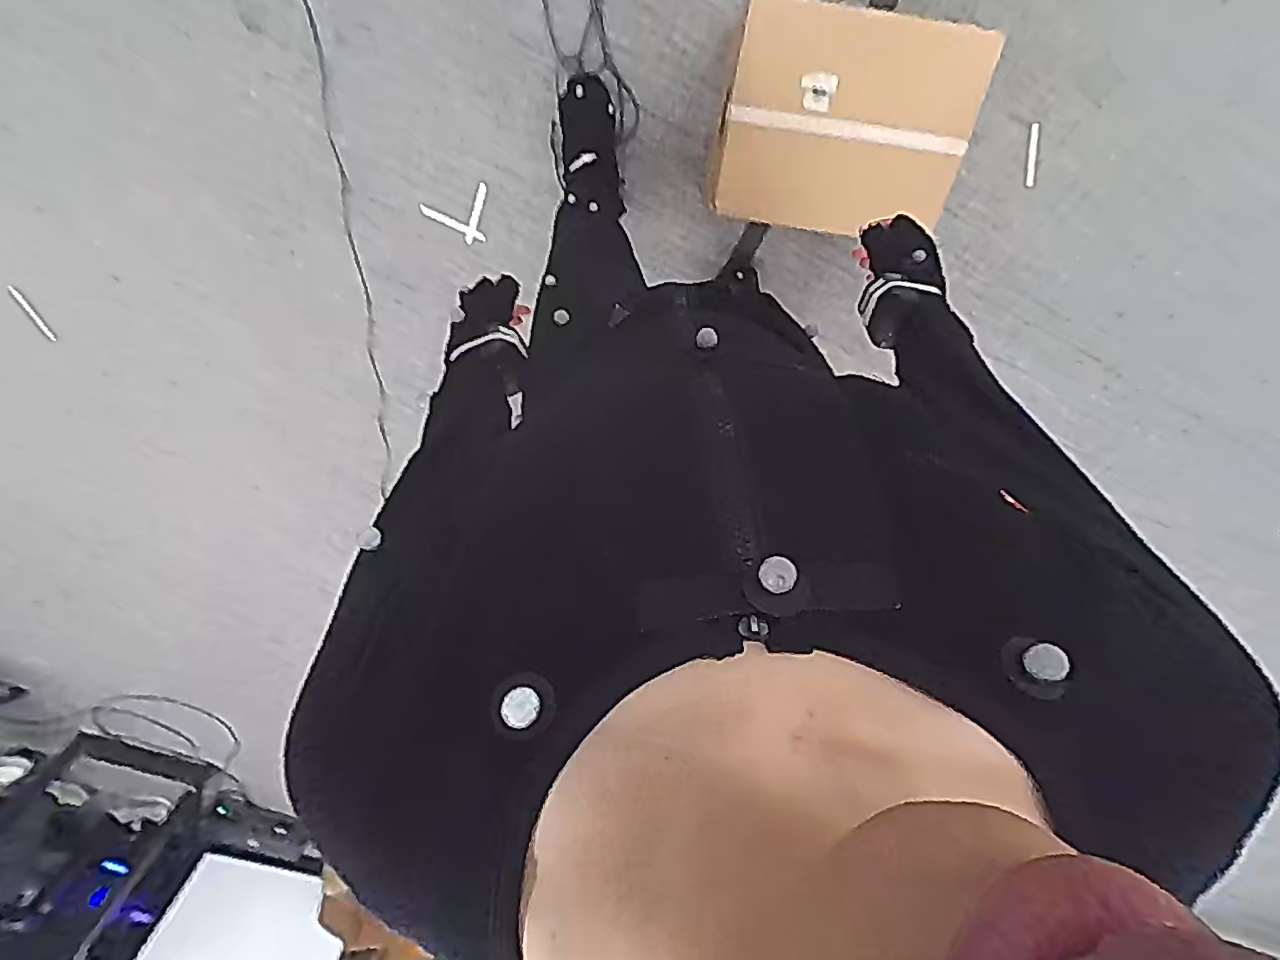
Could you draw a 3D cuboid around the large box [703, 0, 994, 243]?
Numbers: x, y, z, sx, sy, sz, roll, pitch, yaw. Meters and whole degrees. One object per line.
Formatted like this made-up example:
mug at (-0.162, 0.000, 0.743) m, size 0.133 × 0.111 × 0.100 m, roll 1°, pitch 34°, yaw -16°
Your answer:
large box at (0.350, -0.670, 1.043) m, size 0.408 × 0.320 × 0.320 m, roll 8°, pitch 121°, yaw -1°
